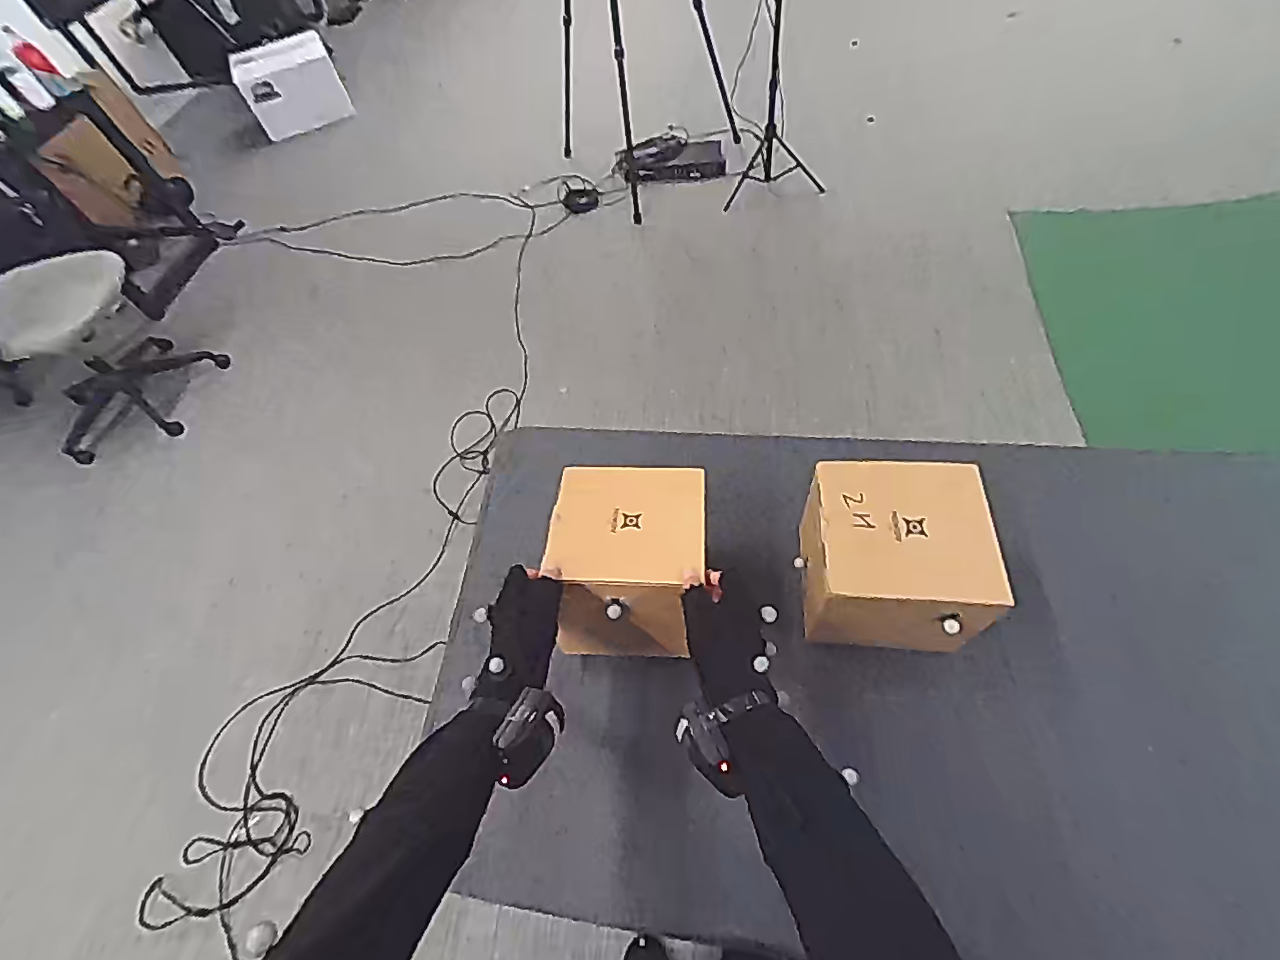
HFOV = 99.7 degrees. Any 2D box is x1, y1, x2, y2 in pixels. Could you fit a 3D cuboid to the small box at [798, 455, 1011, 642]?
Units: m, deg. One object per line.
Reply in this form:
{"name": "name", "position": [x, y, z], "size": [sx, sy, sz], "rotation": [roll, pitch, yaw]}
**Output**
{"name": "small box", "position": [0.289, 0.086, 0.637], "size": [0.179, 0.176, 0.168], "rotation": [1, 58, 10]}
